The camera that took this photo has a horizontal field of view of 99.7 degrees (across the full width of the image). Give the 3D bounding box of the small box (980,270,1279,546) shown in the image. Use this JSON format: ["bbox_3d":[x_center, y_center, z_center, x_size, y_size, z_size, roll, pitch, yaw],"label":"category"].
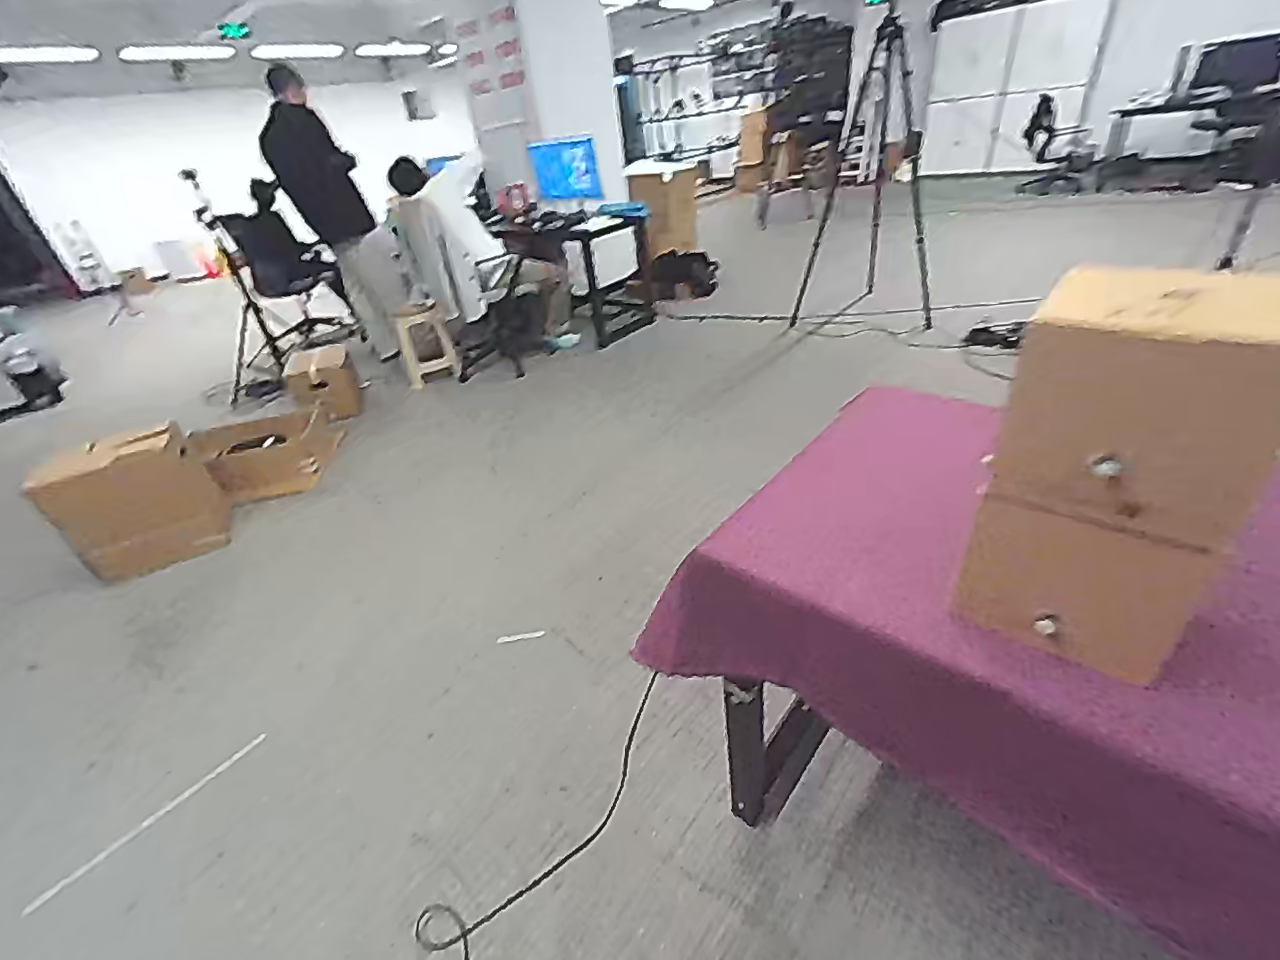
[{"bbox_3d":[0.427,-0.074,0.479,0.168,0.176,0.179,21,43,37],"label":"small box"}]

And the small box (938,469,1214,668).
[{"bbox_3d":[0.443,0.065,0.567,0.179,0.176,0.168,20,42,35],"label":"small box"}]
